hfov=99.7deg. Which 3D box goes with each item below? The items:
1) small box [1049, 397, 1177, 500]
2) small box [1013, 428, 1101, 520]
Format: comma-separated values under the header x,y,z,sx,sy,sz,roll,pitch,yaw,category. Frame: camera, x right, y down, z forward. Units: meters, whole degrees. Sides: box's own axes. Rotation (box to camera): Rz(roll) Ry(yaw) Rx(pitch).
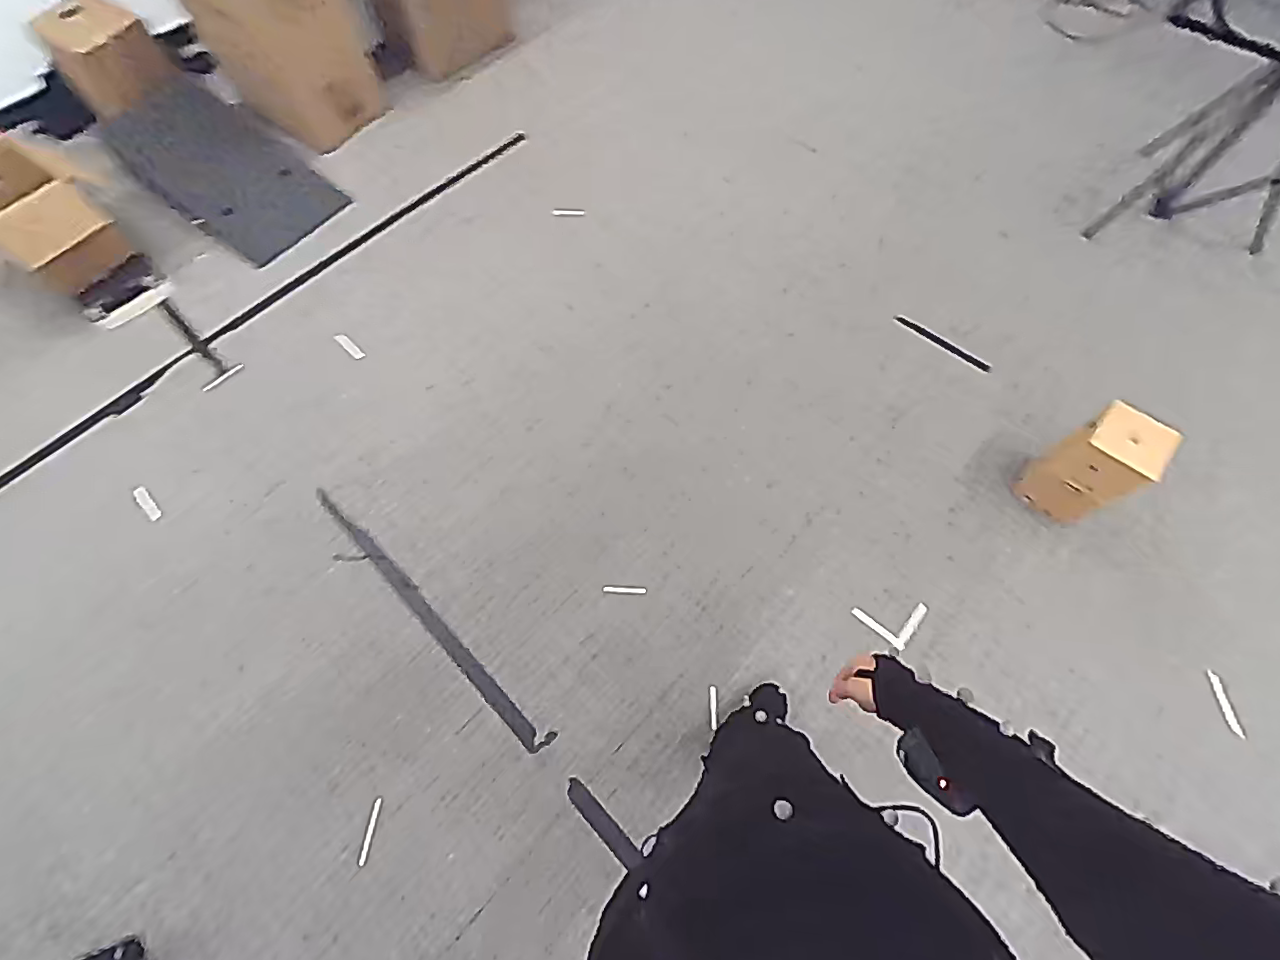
x,y,z,sx,sy,sz,roll,pitch,yaw,category
1.233,-0.077,1.426,0.168,0.176,0.179,38,71,17,small box
1.234,-0.011,1.574,0.168,0.176,0.179,37,71,16,small box
